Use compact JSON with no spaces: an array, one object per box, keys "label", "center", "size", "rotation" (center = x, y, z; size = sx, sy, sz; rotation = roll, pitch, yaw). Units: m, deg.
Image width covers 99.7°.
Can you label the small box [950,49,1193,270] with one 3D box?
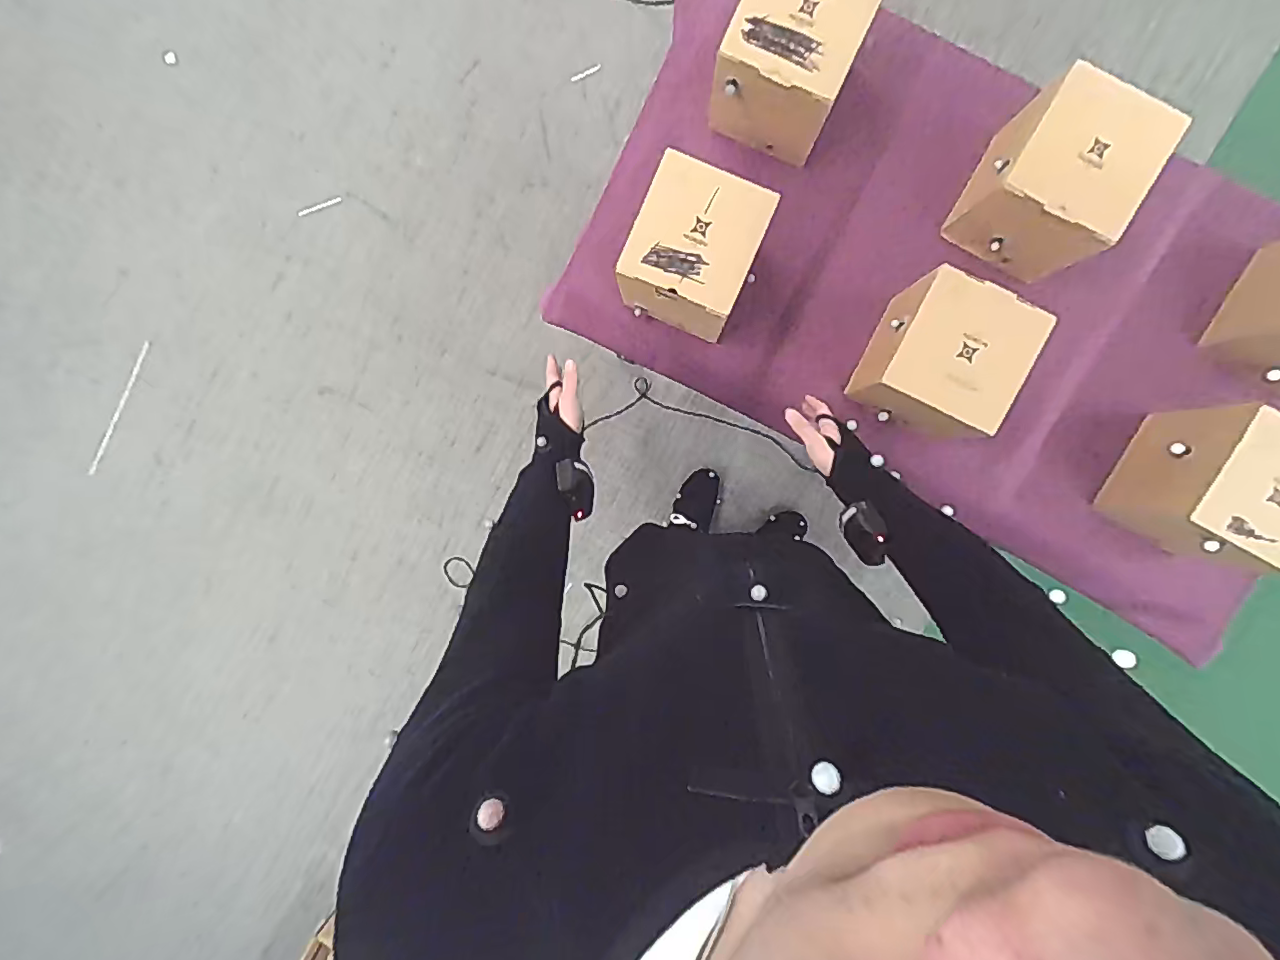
[{"label":"small box","center":[0.580,-0.429,0.758],"size":[0.168,0.176,0.179],"rotation":[29,96,0]}]

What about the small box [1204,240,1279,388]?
[{"label":"small box","center":[0.968,-0.244,0.749],"size":[0.168,0.176,0.179],"rotation":[30,96,2]}]

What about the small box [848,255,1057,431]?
[{"label":"small box","center":[0.432,-0.184,0.782],"size":[0.168,0.176,0.179],"rotation":[27,94,1]}]

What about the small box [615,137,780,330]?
[{"label":"small box","center":[0.078,-0.339,0.784],"size":[0.168,0.176,0.179],"rotation":[24,93,0]}]

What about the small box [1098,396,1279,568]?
[{"label":"small box","center":[0.826,0.002,0.776],"size":[0.168,0.176,0.179],"rotation":[30,93,1]}]
